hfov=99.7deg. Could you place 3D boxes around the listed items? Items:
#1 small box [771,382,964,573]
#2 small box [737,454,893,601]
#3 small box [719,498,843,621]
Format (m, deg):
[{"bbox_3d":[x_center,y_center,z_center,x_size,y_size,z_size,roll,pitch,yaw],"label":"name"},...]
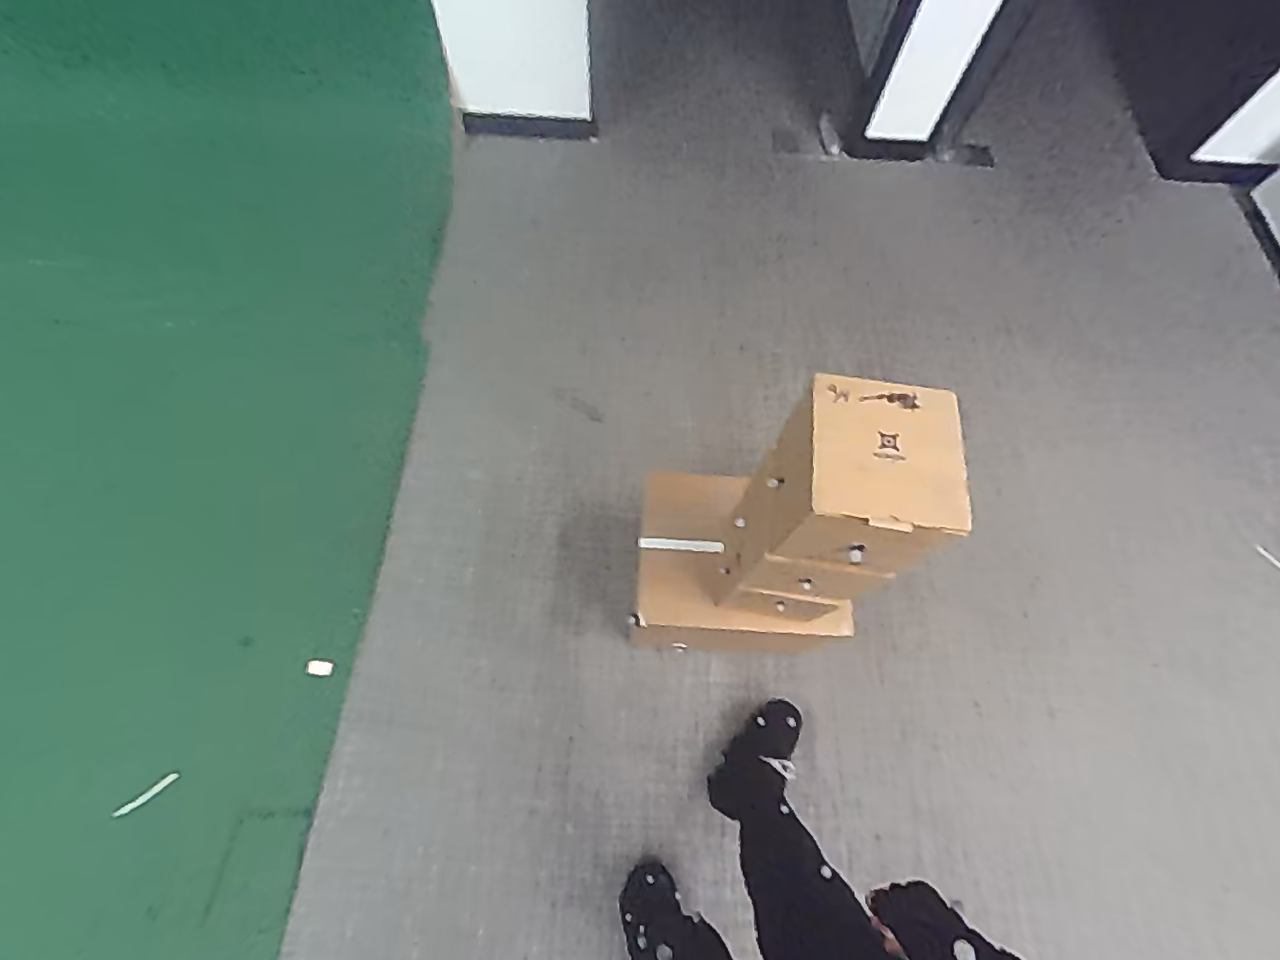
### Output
[{"bbox_3d":[0.265,0.006,0.665,0.168,0.176,0.179,9,68,1],"label":"small box"},{"bbox_3d":[0.254,0.079,0.811,0.179,0.176,0.168,8,67,2],"label":"small box"},{"bbox_3d":[0.244,0.148,0.960,0.179,0.176,0.168,10,67,0],"label":"small box"}]
